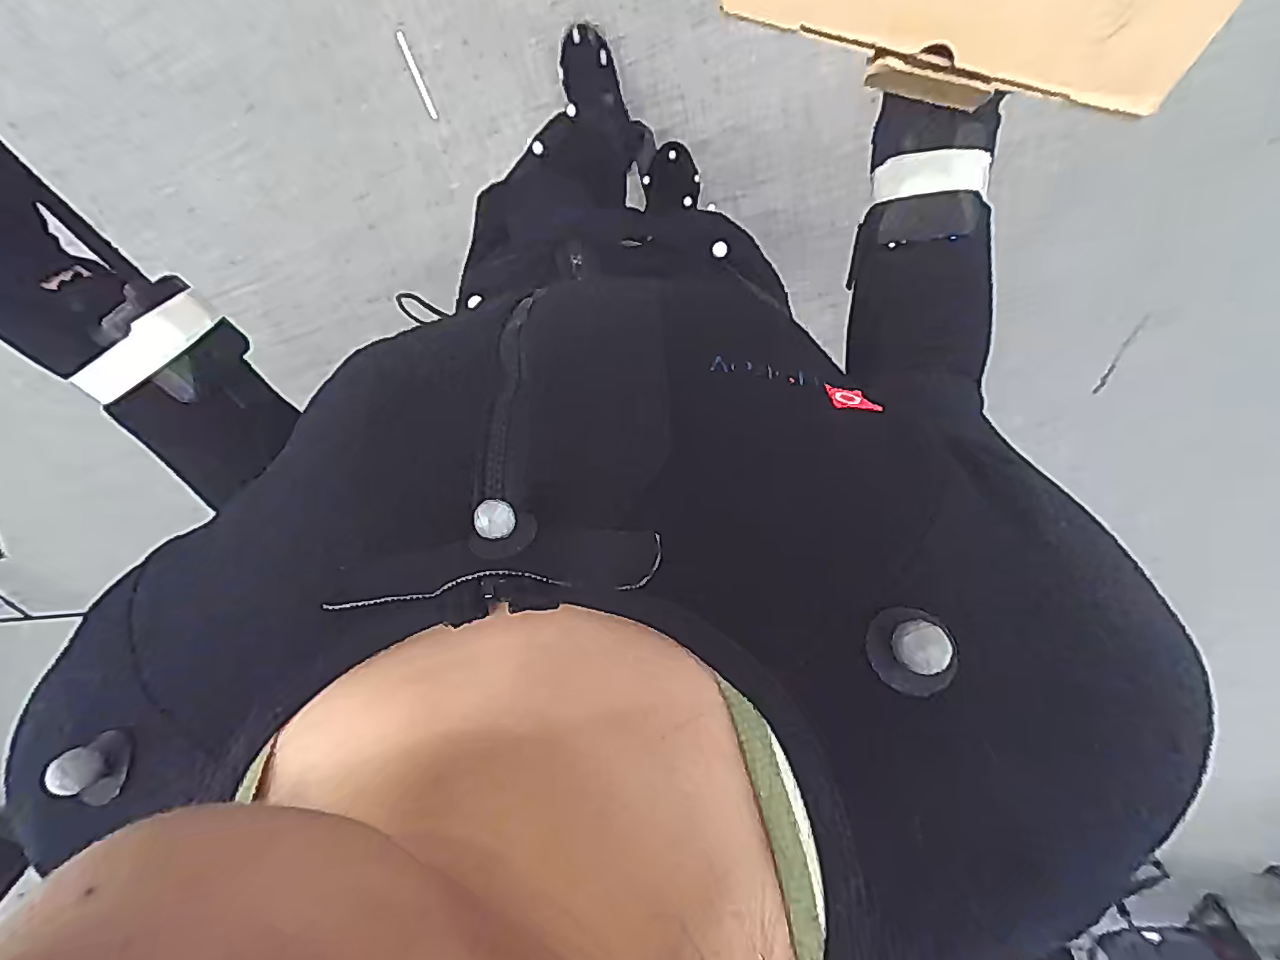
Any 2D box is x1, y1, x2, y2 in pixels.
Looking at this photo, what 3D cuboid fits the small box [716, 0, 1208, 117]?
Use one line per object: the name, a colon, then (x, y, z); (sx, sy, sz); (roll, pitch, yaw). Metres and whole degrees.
small box: (0.135, -0.272, 0.193); (0.168, 0.176, 0.179); (14, 138, -1)
